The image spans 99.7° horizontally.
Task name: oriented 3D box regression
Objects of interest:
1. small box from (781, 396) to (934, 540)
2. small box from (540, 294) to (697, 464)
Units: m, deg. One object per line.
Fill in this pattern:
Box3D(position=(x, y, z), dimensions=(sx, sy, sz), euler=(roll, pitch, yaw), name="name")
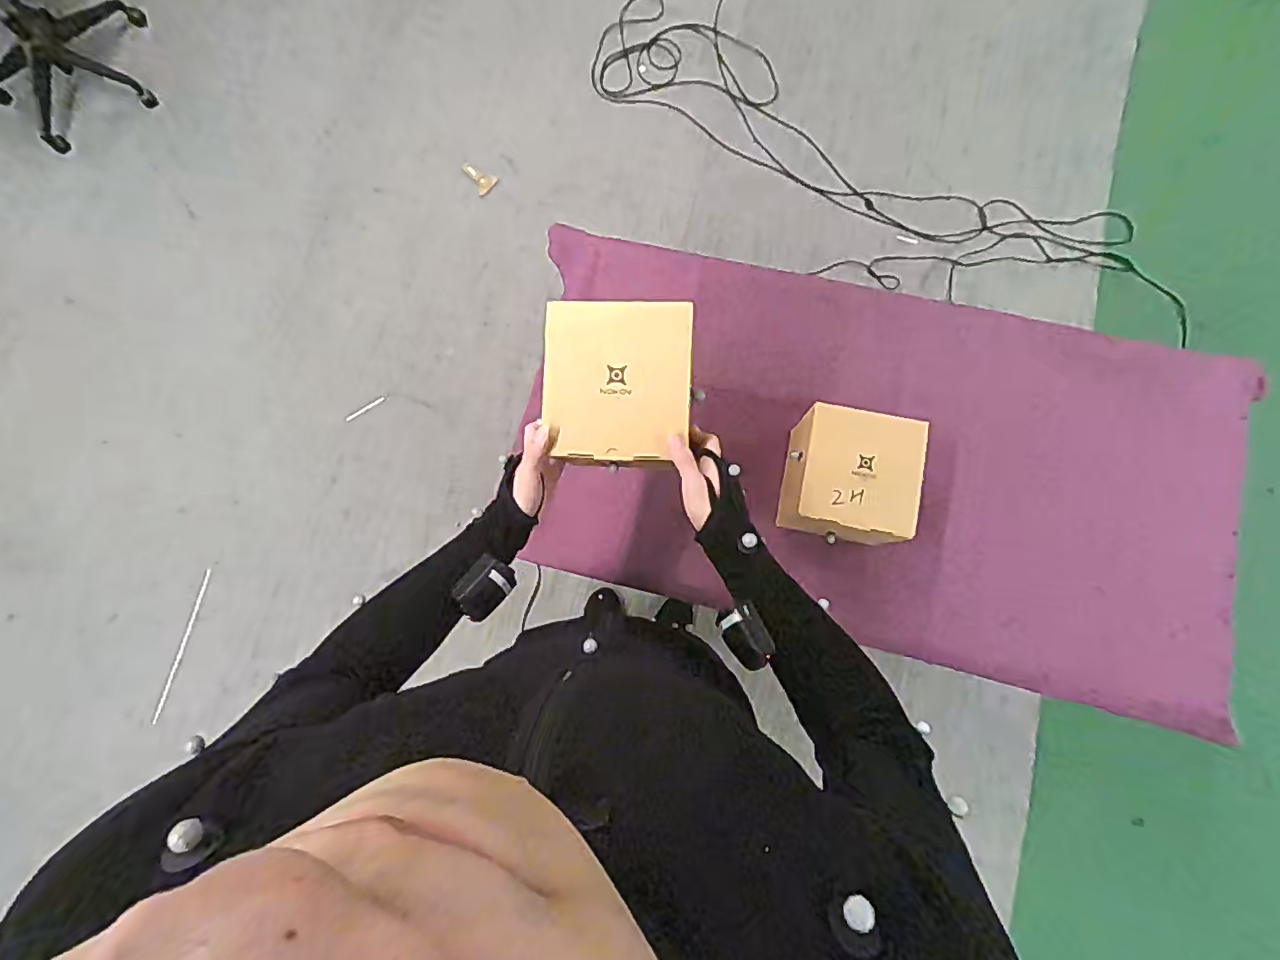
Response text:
Box3D(position=(0.328, -0.010, 0.846), dimensions=(0.168, 0.176, 0.179), euler=(12, 82, 5), name="small box")
Box3D(position=(-0.018, -0.113, 0.662), dimensions=(0.168, 0.176, 0.179), euler=(2, 90, 5), name="small box")
